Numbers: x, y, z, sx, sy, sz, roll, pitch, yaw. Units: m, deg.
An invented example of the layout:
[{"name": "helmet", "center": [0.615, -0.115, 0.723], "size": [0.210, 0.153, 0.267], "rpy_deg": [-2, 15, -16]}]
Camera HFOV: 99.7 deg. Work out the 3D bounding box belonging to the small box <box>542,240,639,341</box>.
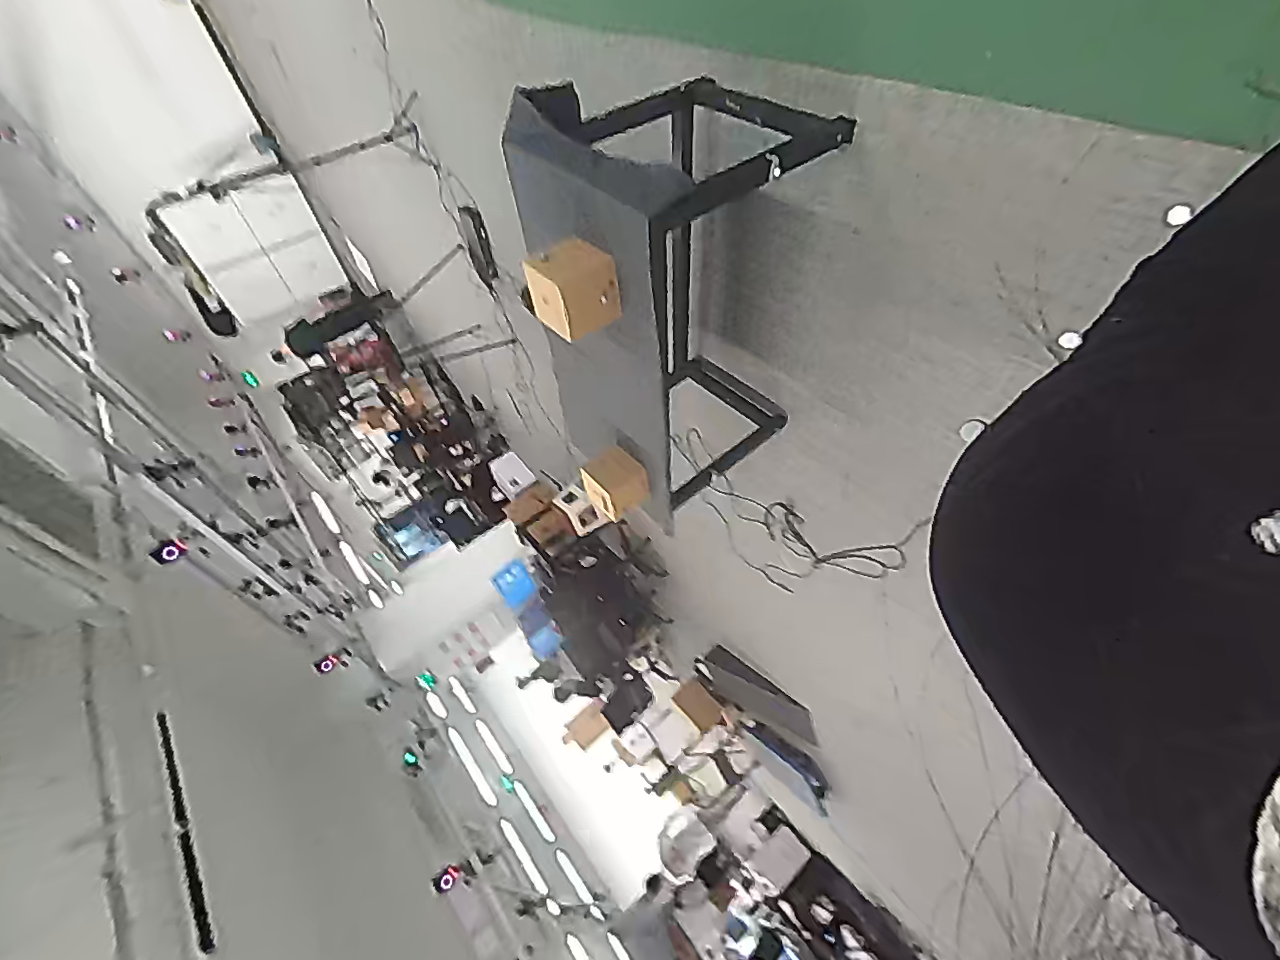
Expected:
[{"name": "small box", "center": [-0.124, -0.499, 1.409], "size": [0.179, 0.176, 0.168], "rpy_deg": [42, 158, 33]}]
